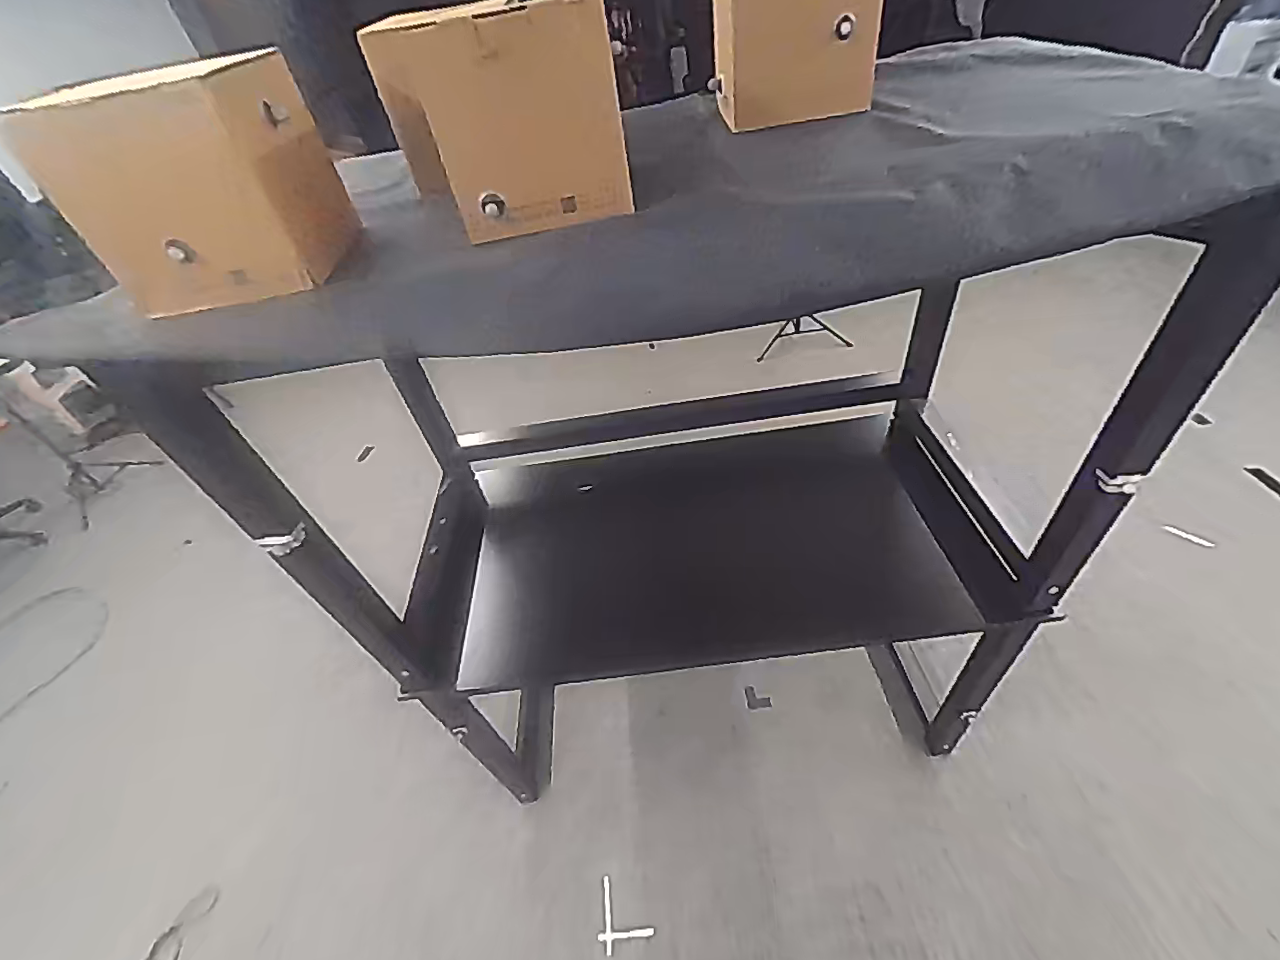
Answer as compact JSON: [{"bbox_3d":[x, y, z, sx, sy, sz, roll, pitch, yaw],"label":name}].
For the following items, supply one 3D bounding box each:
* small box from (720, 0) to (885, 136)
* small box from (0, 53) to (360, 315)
[{"bbox_3d":[0.197,-0.566,0.695,0.179,0.176,0.168,-6,43,4],"label":"small box"},{"bbox_3d":[-0.397,-0.280,0.514,0.168,0.176,0.179,-11,44,0],"label":"small box"}]
